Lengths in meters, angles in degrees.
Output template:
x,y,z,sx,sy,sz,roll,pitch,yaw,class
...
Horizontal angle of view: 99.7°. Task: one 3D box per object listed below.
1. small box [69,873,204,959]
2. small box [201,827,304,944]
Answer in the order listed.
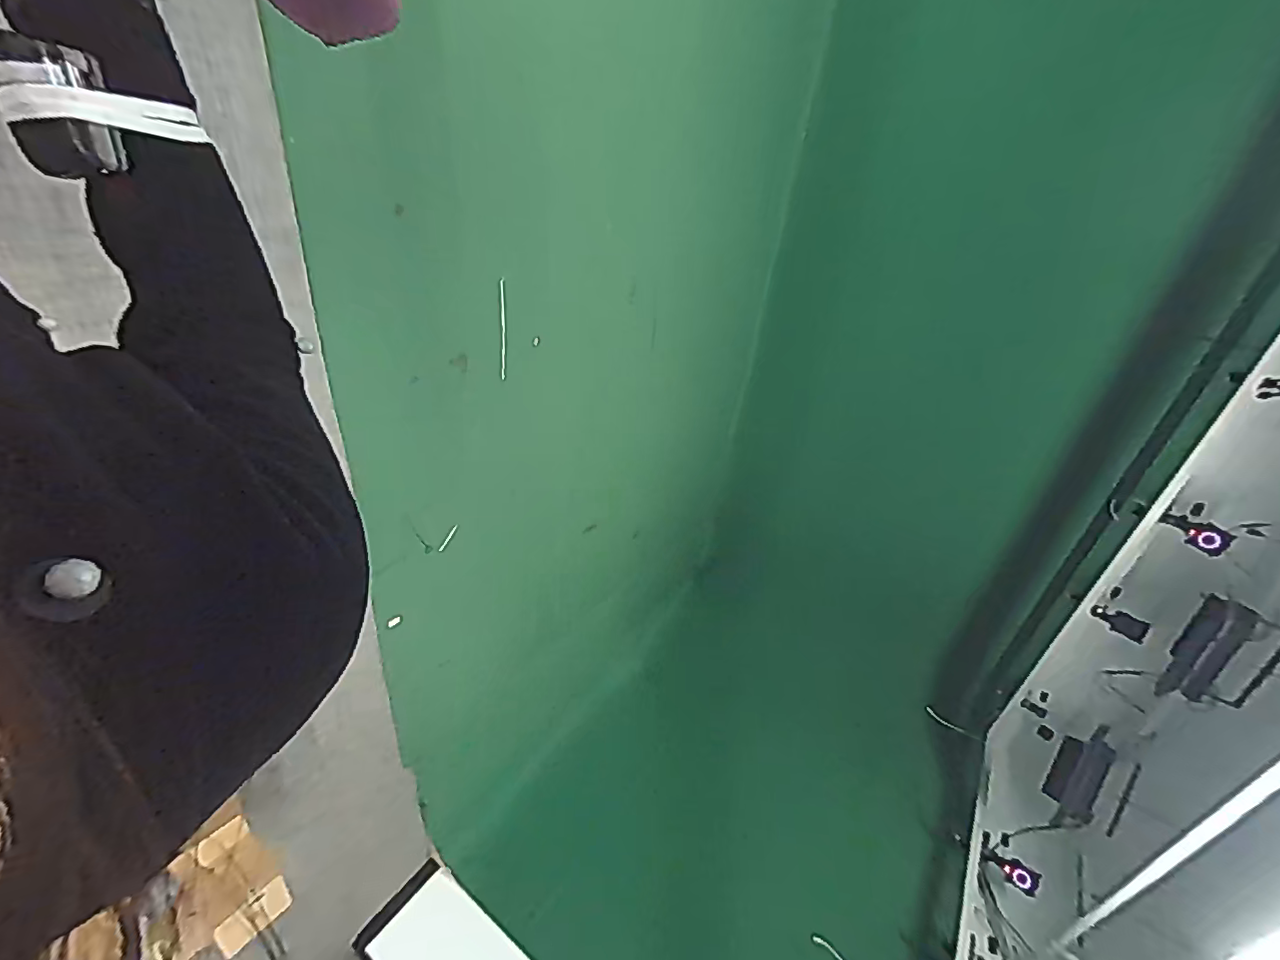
x,y,z,sx,sy,sz,roll,pitch,yaw,class
-1.182,1.088,1.267,0.179,0.176,0.168,-33,141,-47,small box
-1.073,1.115,1.501,0.168,0.176,0.179,-32,141,-49,small box
